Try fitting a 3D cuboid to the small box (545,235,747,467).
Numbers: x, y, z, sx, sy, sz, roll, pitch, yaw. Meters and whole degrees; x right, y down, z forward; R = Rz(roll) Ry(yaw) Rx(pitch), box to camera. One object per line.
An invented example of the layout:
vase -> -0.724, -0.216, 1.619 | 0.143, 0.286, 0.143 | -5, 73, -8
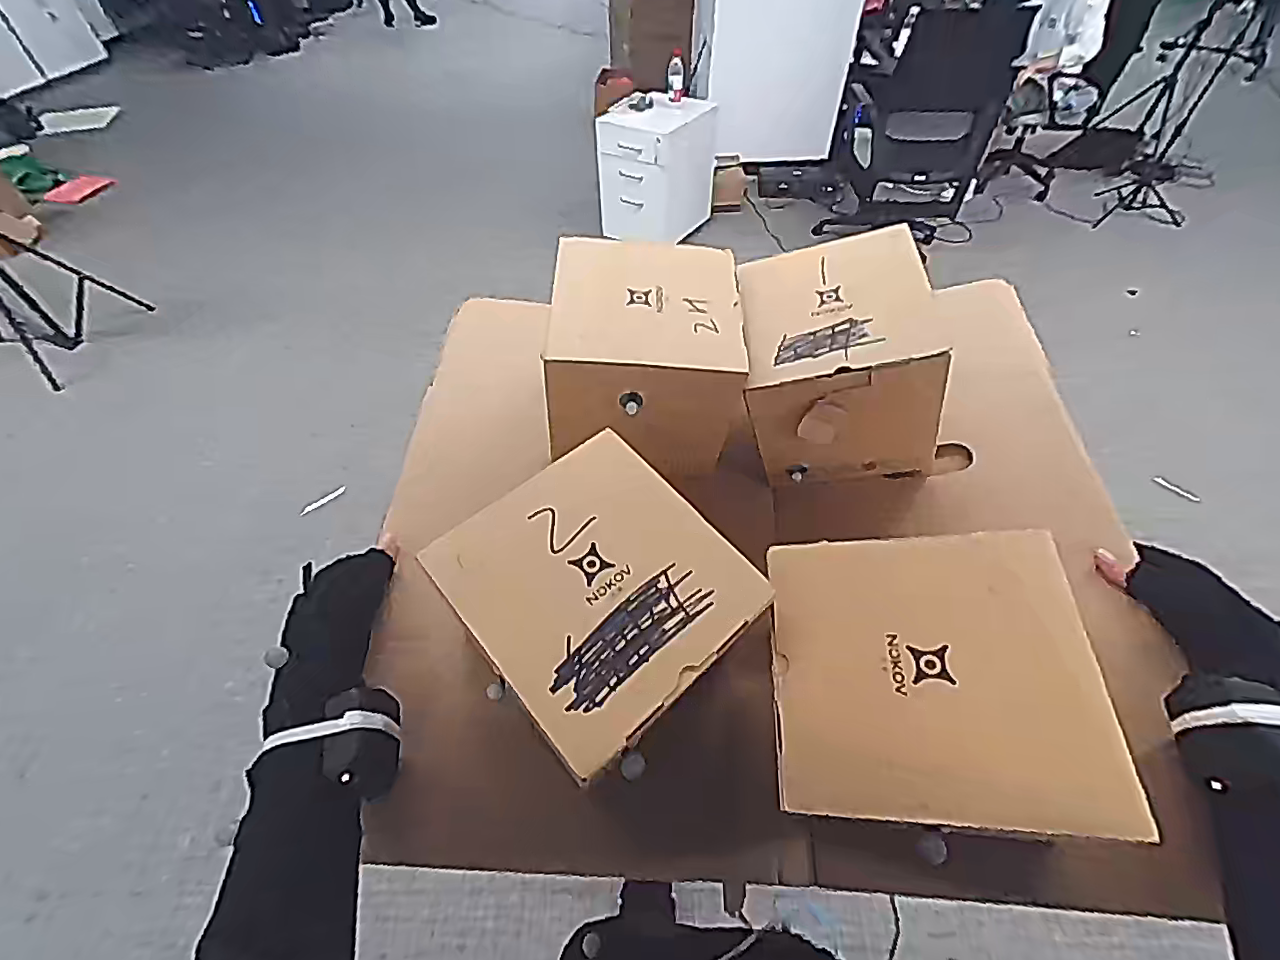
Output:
small box -> 0.002, -0.127, 0.566 | 0.179, 0.176, 0.168 | 4, 59, -4
